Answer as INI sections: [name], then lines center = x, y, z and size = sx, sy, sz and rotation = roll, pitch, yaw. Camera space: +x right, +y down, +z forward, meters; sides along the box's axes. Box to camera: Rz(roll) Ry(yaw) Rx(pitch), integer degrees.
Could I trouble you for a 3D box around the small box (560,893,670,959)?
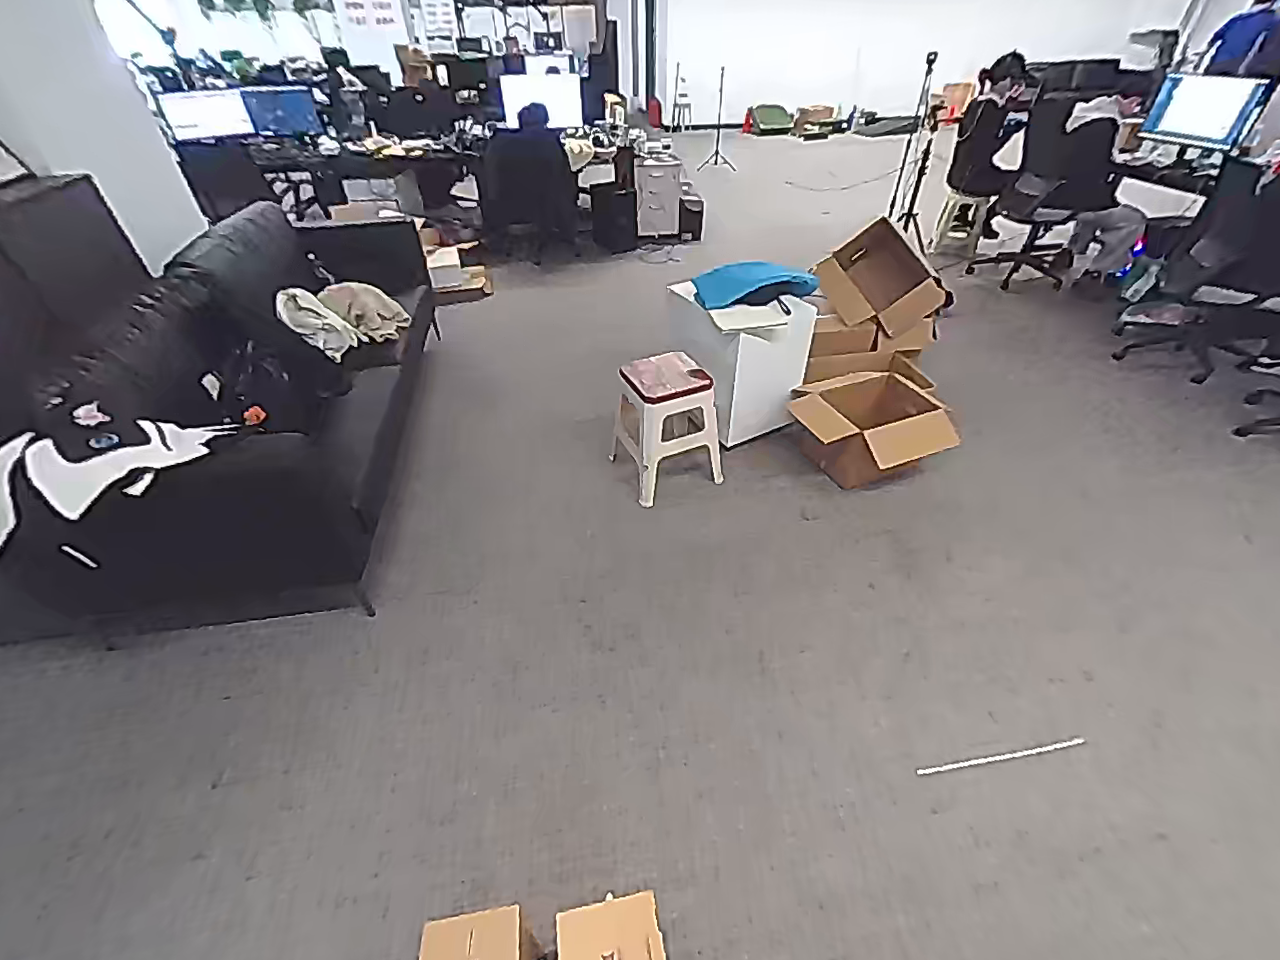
[small box]
center = -0.036, 0.852, 0.933
size = 0.179, 0.176, 0.168
rotation = -8, 41, -8
